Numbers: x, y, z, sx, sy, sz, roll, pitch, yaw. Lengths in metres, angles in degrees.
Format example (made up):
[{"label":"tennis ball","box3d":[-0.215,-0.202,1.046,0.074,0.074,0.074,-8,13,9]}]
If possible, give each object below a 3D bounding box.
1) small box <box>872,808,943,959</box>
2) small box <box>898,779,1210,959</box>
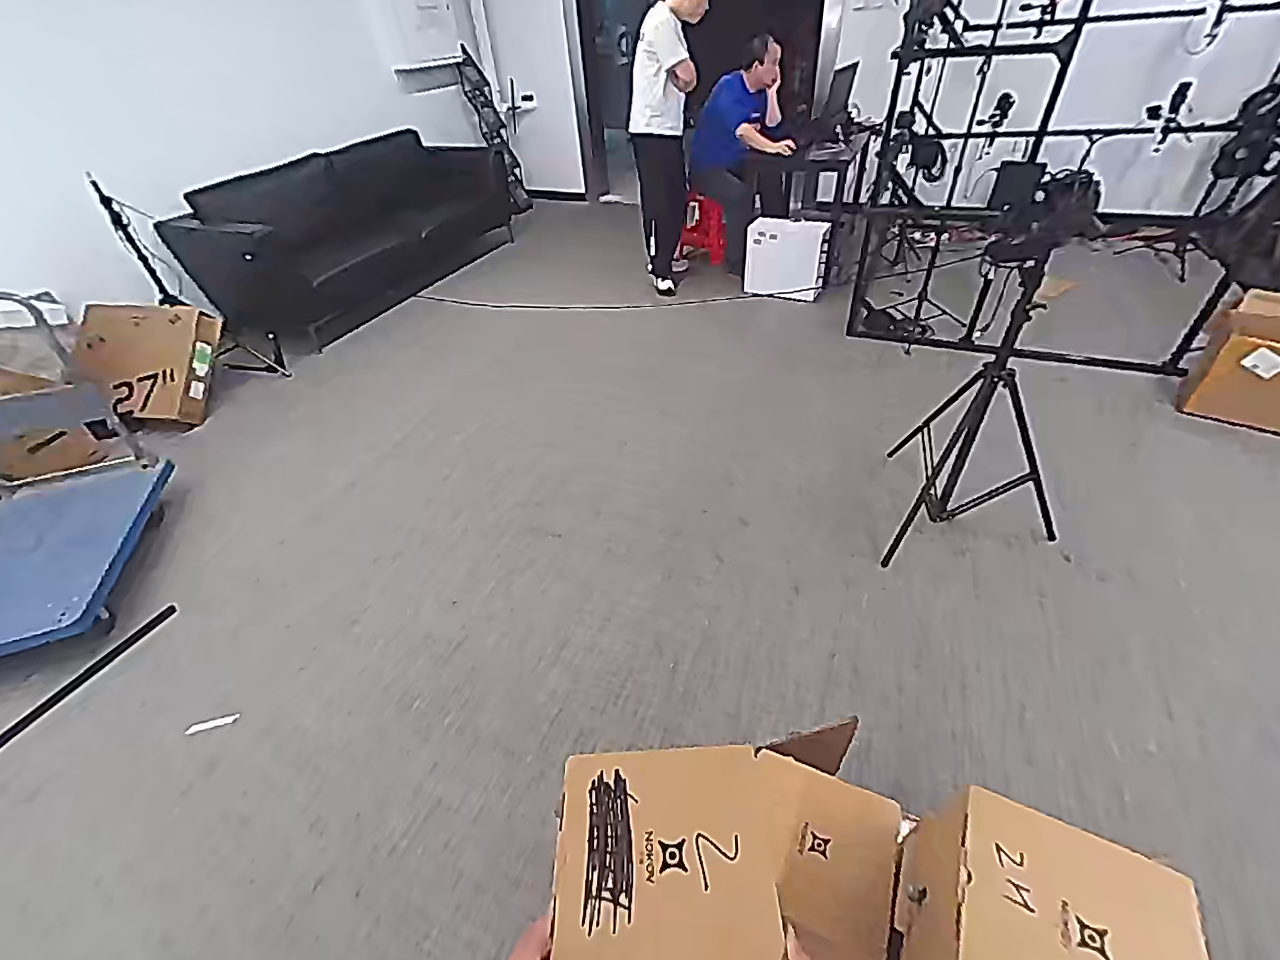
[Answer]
[{"label":"small box","box3d":[0.384,0.525,0.618,0.179,0.176,0.168,20,48,23]},{"label":"small box","box3d":[0.360,0.418,0.493,0.179,0.176,0.168,18,47,21]}]
